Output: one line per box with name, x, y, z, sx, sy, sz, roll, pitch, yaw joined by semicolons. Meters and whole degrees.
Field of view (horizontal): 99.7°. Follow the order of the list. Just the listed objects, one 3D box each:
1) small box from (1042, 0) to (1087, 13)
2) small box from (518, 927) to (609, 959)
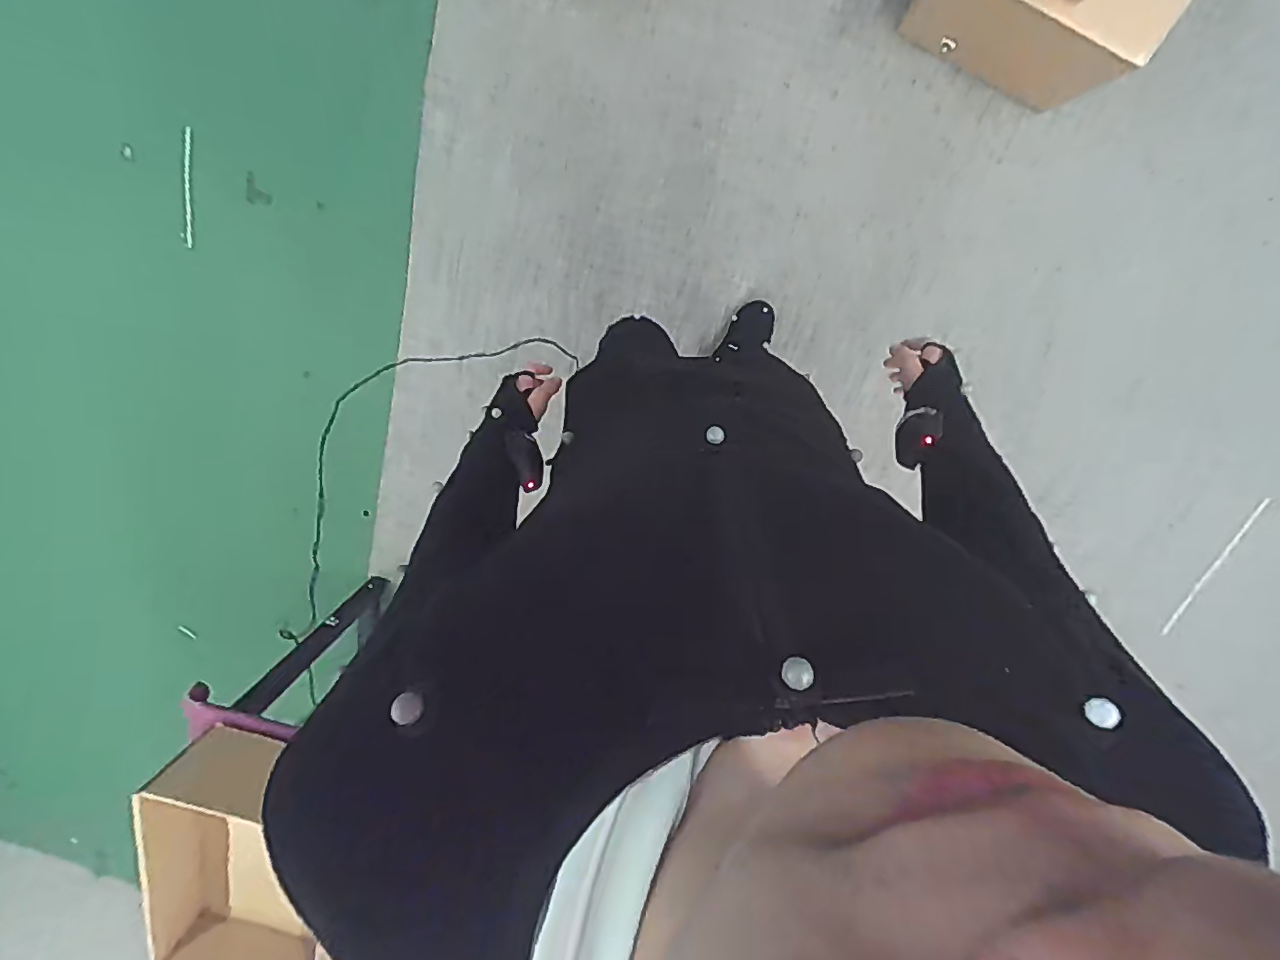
small box;0.722;-0.907;0.864;0.168;0.176;0.179;24;112;-3
small box;-0.187;1.185;1.257;0.168;0.176;0.179;-29;104;15
